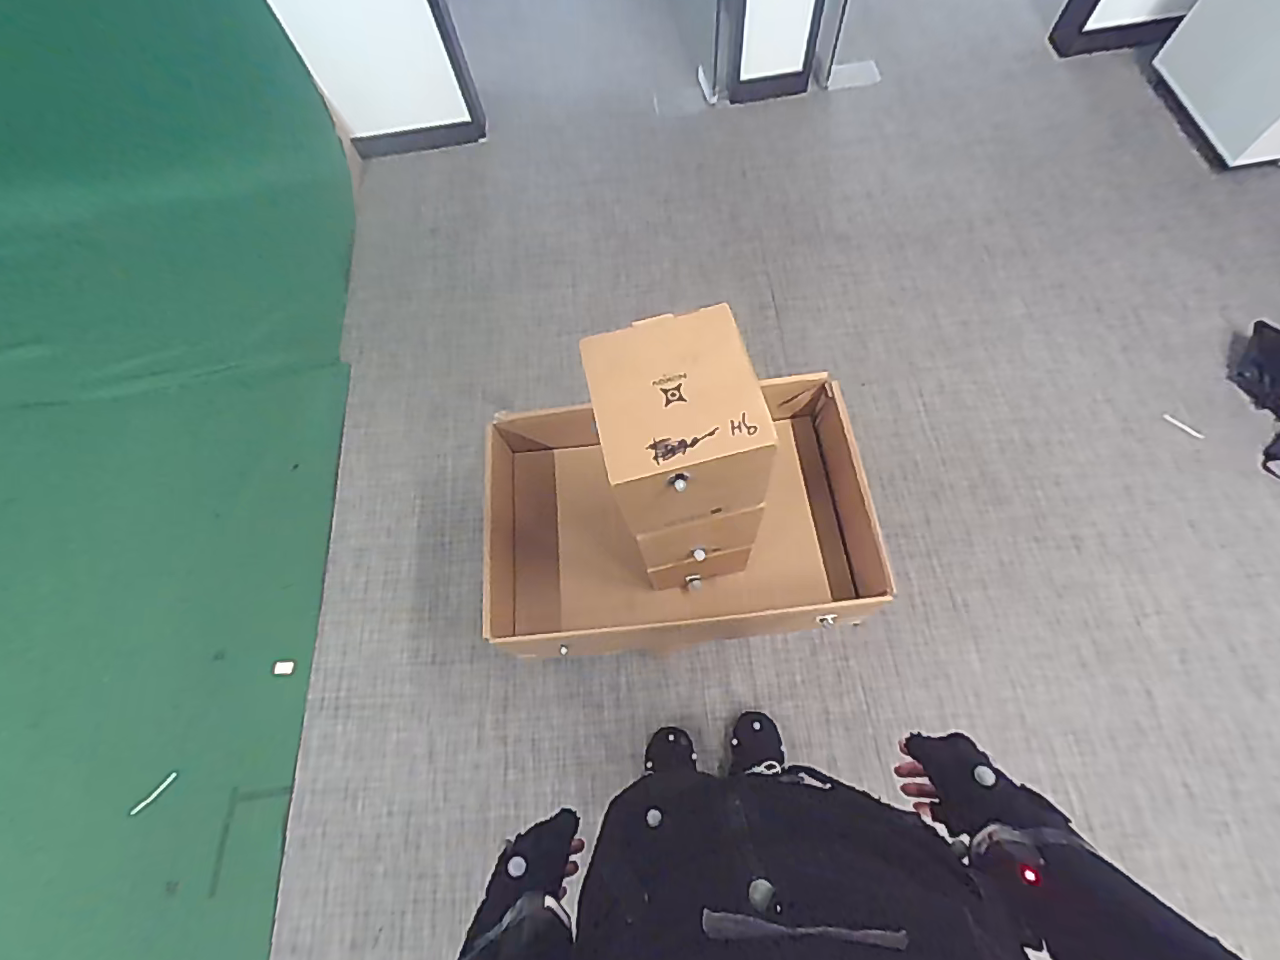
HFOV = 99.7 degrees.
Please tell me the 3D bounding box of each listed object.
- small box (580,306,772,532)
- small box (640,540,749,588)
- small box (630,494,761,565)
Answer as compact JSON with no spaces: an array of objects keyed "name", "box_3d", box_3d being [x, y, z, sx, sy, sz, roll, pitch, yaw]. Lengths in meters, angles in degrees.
[{"name":"small box","box_3d":[0.039,-0.061,0.620,0.168,0.176,0.179,-15,65,2]},{"name":"small box","box_3d":[0.077,0.069,0.918,0.168,0.176,0.179,-14,68,1]},{"name":"small box","box_3d":[0.062,0.004,0.768,0.168,0.176,0.179,-14,67,2]}]
